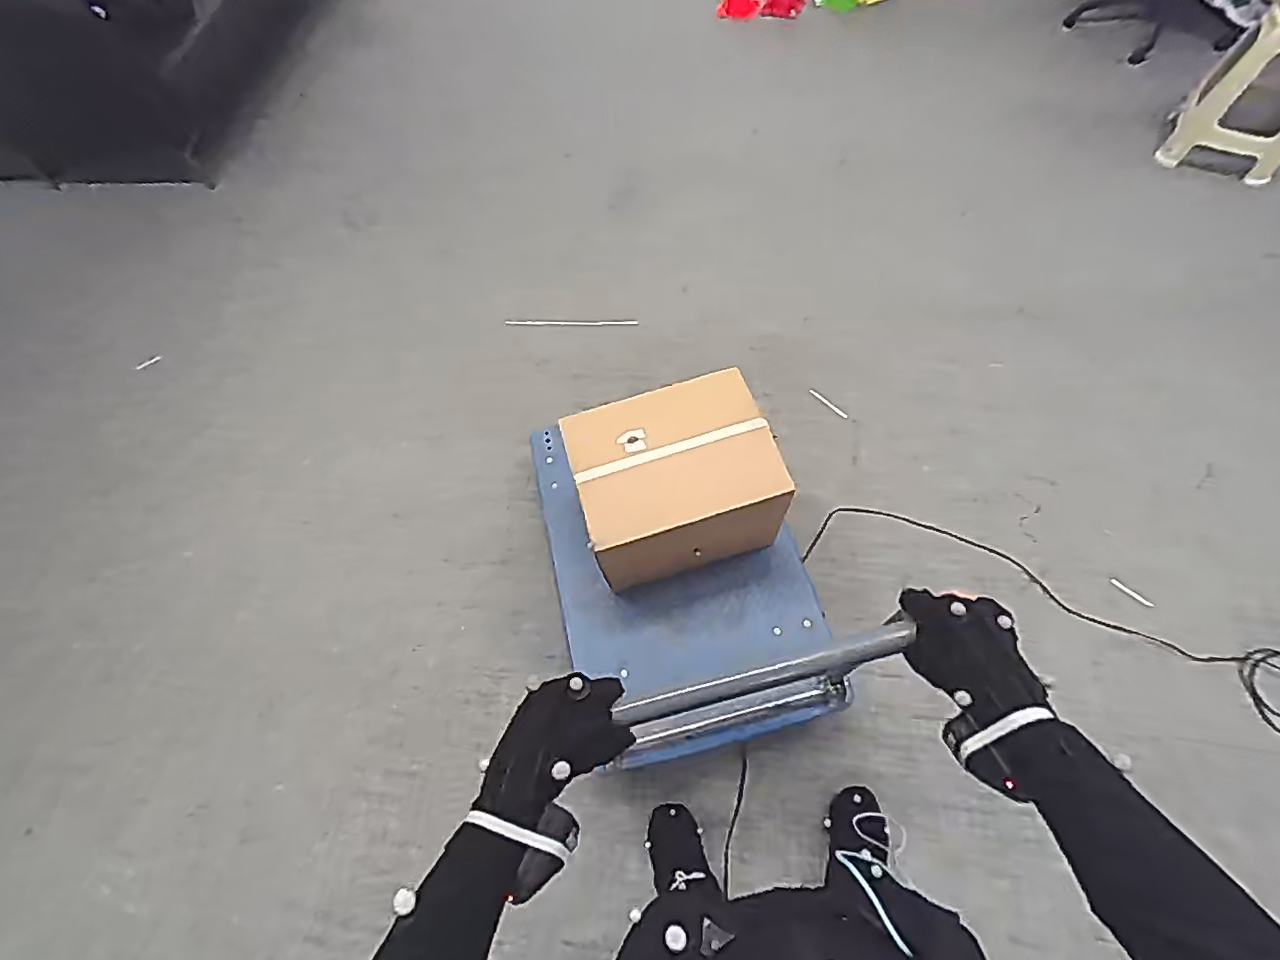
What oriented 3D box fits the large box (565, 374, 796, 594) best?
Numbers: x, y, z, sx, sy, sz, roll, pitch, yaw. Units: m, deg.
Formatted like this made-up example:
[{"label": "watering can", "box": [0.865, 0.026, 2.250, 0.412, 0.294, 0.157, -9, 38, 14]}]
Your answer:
[{"label": "large box", "box": [0.085, 0.023, 1.228, 0.408, 0.320, 0.320, -18, 63, -3]}]
